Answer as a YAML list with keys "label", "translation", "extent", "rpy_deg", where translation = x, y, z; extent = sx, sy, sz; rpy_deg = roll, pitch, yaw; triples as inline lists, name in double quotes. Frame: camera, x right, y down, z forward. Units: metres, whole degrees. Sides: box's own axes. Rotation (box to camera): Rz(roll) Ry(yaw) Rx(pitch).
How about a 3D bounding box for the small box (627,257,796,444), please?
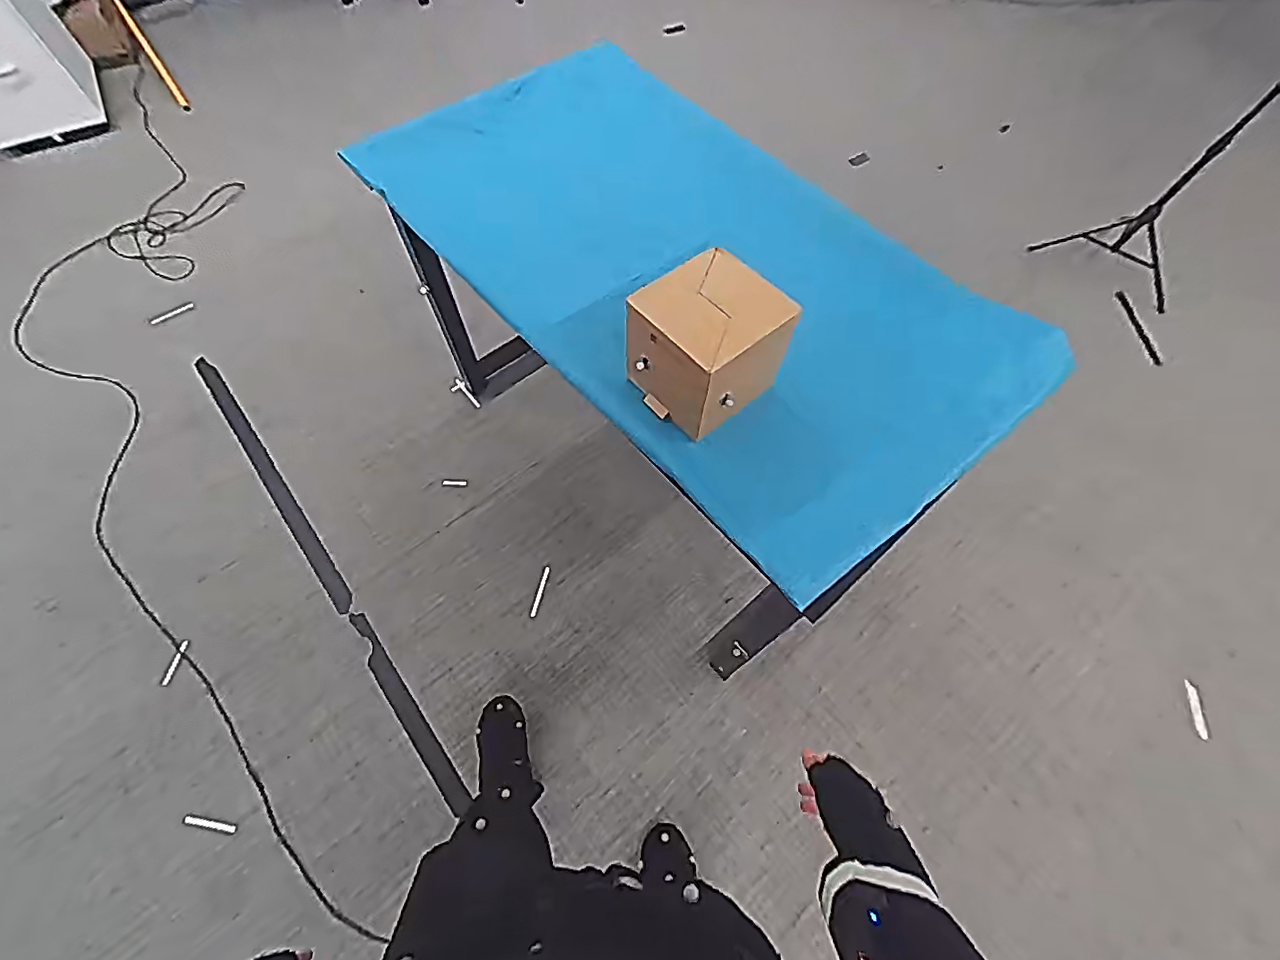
- label: "small box"
  translation: [0.096, -0.192, 0.794]
  extent: [0.179, 0.176, 0.168]
  rpy_deg: [-37, 70, -19]
